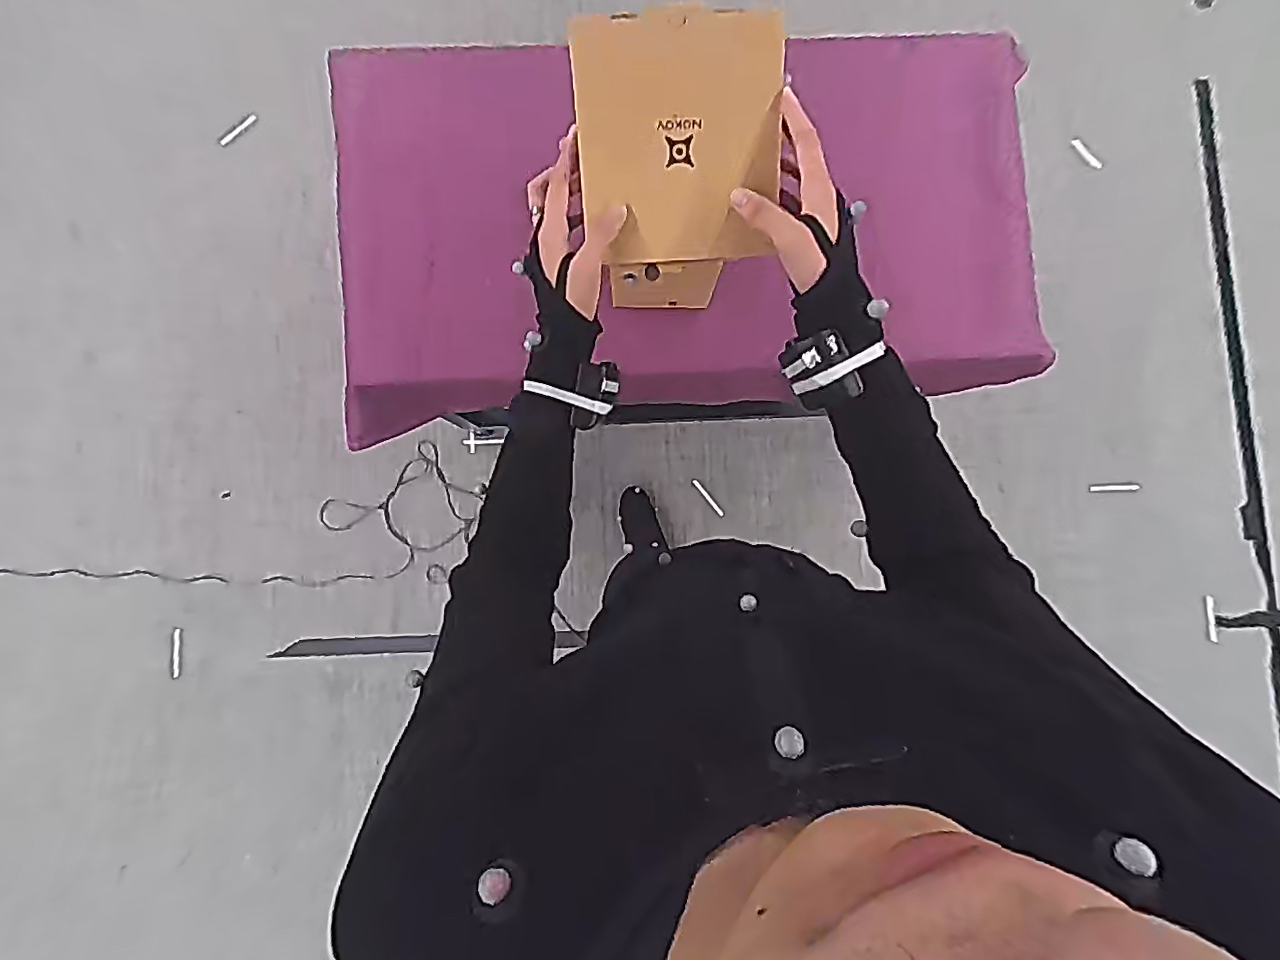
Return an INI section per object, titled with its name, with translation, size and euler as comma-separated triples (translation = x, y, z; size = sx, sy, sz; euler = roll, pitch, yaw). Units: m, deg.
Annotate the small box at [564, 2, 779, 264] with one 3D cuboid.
[small box]
translation = 0.025, -0.300, 0.508
size = 0.168, 0.176, 0.179
euler = -4, 109, -1
